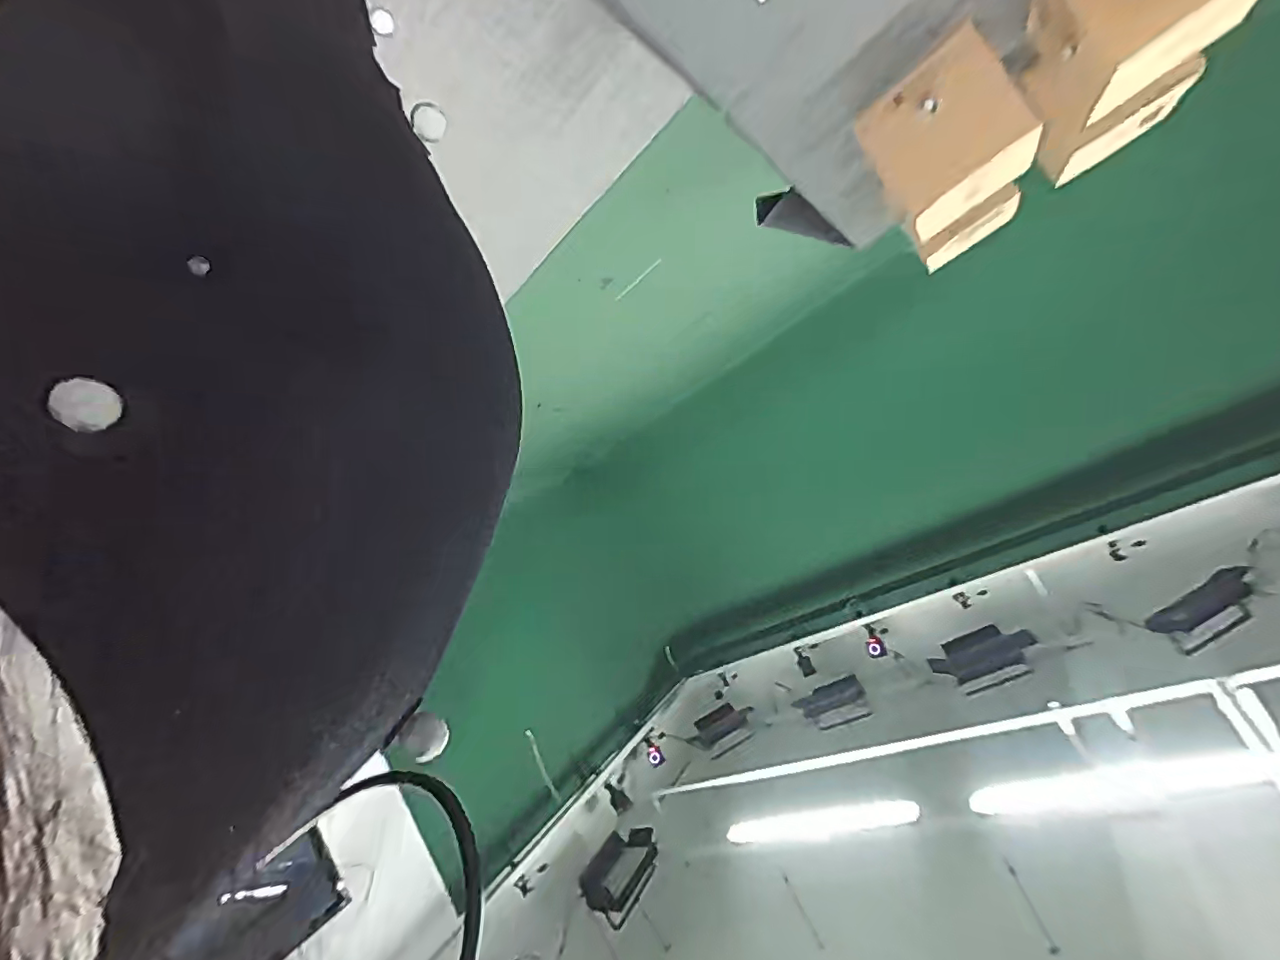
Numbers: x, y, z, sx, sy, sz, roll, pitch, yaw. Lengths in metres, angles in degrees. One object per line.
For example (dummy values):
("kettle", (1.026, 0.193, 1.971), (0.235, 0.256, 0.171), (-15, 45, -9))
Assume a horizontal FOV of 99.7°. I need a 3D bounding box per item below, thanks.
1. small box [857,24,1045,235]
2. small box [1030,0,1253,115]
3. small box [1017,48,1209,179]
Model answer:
("small box", (0.442, -0.495, 0.784), (0.168, 0.176, 0.179), (-34, 172, 32))
("small box", (0.619, -0.611, 0.659), (0.179, 0.176, 0.168), (-33, 173, 30))
("small box", (0.765, -0.658, 0.905), (0.179, 0.176, 0.168), (-32, 173, 30))
